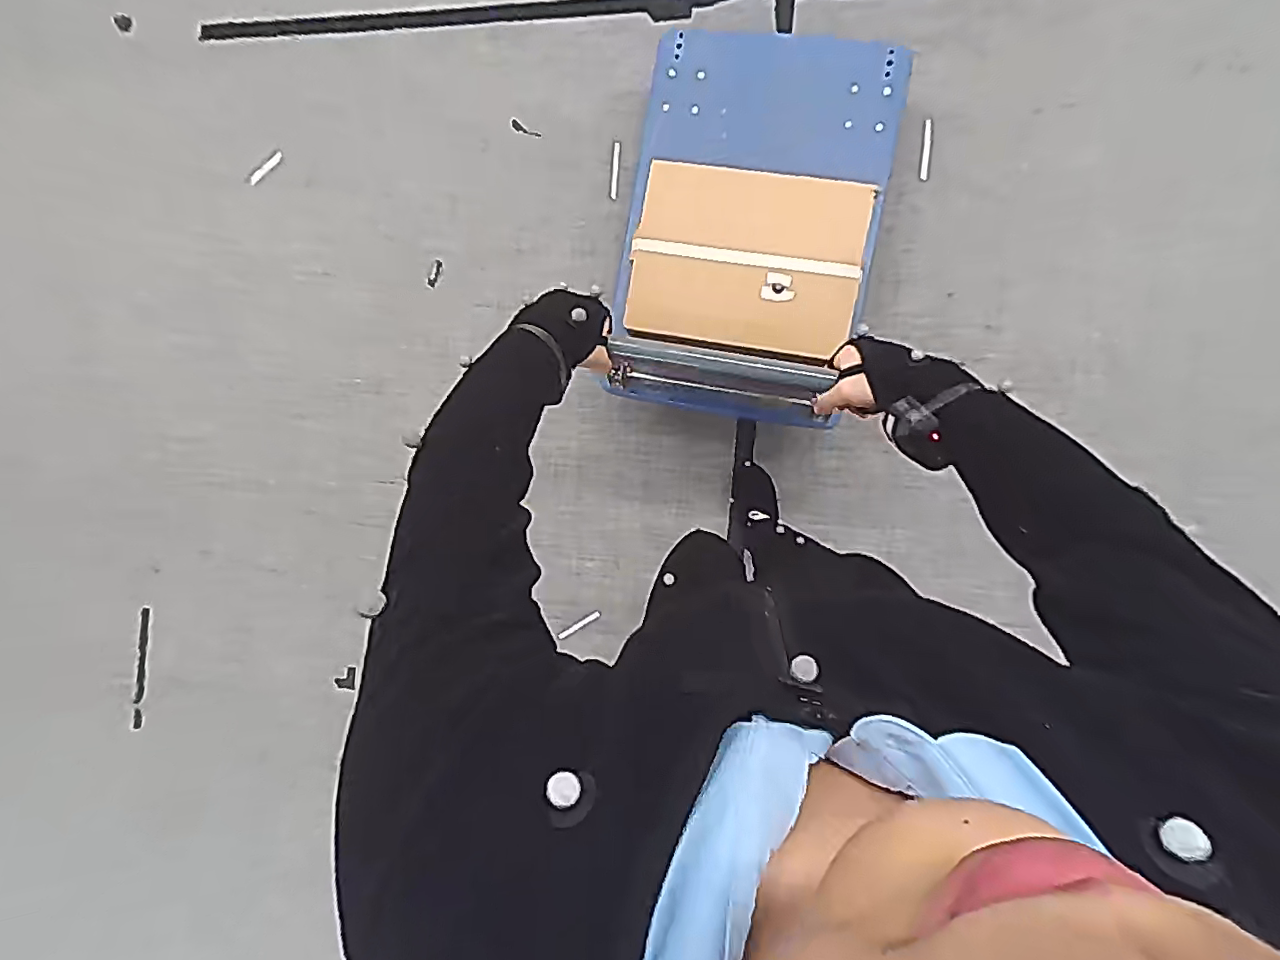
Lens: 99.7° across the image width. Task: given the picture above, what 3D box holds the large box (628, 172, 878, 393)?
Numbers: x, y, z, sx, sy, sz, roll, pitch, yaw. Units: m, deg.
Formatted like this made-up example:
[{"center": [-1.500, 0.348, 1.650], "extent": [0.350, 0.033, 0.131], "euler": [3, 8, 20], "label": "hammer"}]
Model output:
[{"center": [0.211, -0.379, 1.111], "extent": [0.408, 0.320, 0.320], "euler": [11, 93, 7], "label": "large box"}]
